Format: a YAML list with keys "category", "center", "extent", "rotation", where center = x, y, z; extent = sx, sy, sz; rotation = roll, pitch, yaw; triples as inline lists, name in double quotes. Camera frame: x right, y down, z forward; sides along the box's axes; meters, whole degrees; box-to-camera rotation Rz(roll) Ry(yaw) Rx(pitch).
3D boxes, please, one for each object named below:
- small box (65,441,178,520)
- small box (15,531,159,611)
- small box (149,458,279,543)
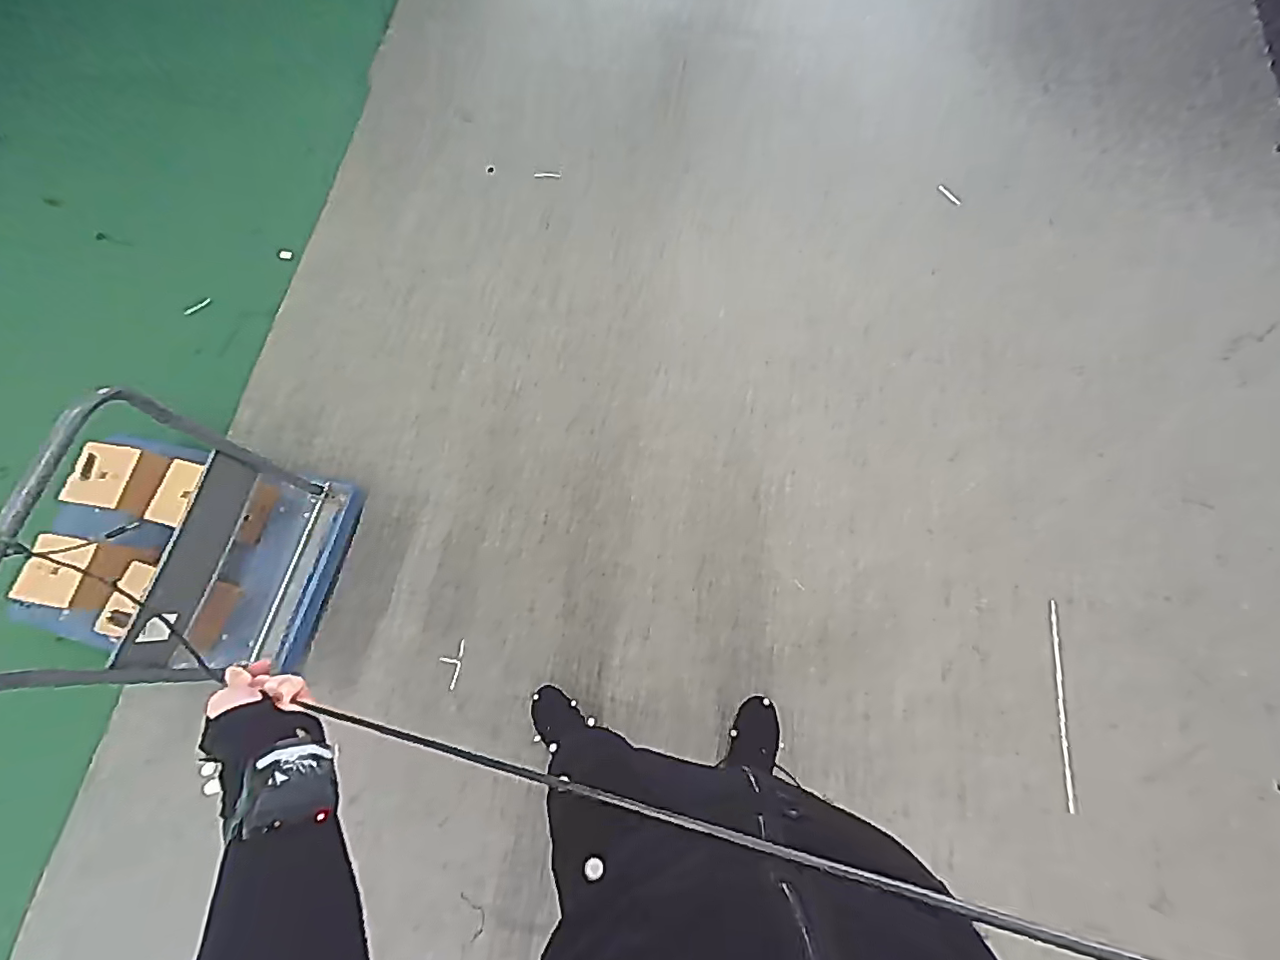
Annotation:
- category: "small box"
  center: [-1.389, 0.007, 1.491]
  extent: [0.179, 0.176, 0.168]
  rotation: [8, 73, 8]
- category: "small box"
  center: [-1.432, 0.243, 1.417]
  extent: [0.179, 0.176, 0.168]
  rotation: [8, 72, 9]
- category: "small box"
  center: [-1.128, 0.060, 1.445]
  extent: [0.179, 0.176, 0.168]
  rotation: [13, 74, 10]
